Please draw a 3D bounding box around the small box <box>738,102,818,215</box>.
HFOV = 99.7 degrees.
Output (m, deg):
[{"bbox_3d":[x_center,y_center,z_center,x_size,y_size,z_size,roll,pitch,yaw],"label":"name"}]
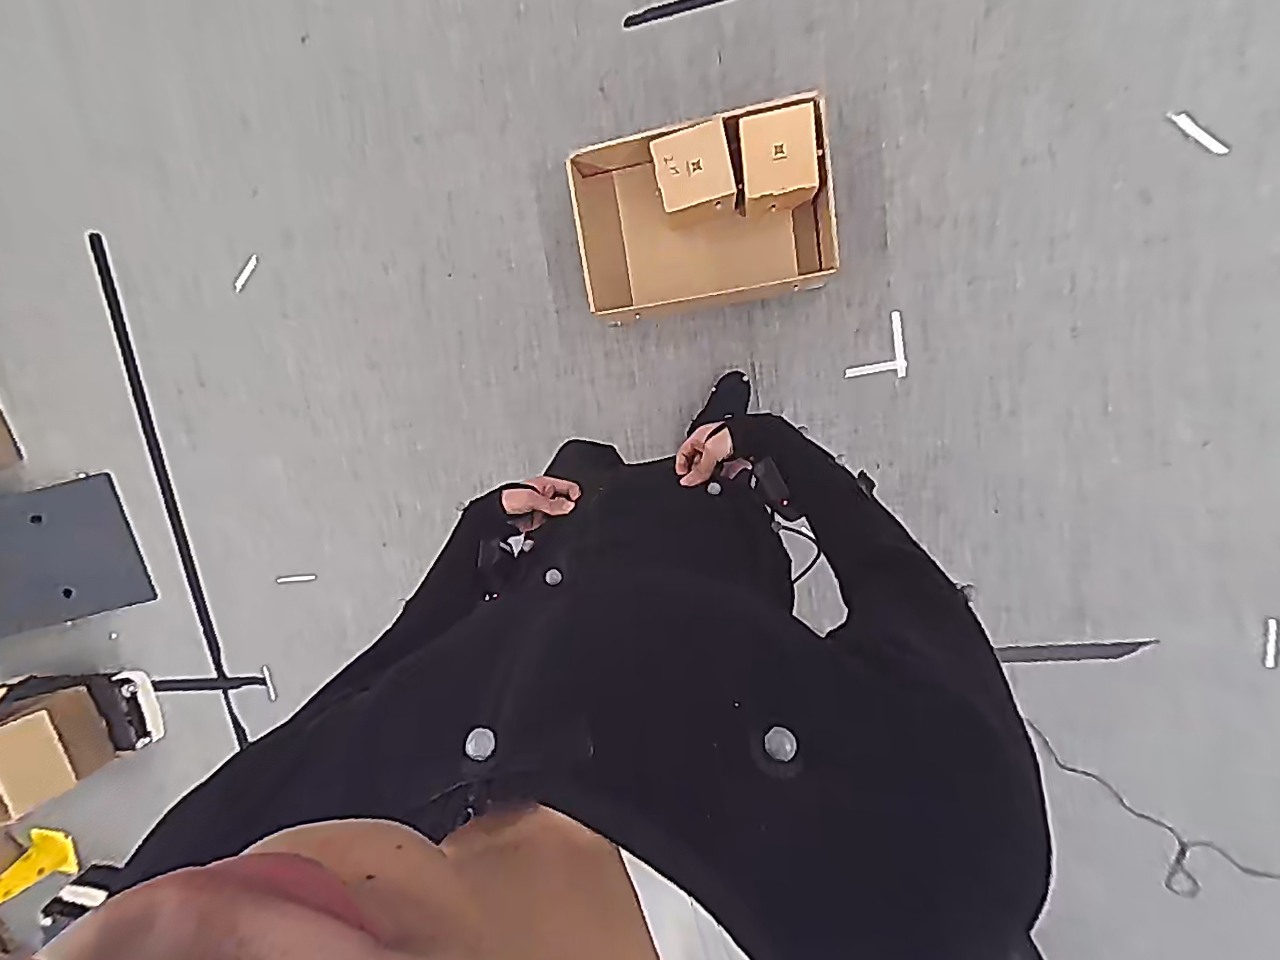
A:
[{"bbox_3d":[0.327,-0.766,1.306,0.168,0.176,0.179,-6,102,11],"label":"small box"}]
